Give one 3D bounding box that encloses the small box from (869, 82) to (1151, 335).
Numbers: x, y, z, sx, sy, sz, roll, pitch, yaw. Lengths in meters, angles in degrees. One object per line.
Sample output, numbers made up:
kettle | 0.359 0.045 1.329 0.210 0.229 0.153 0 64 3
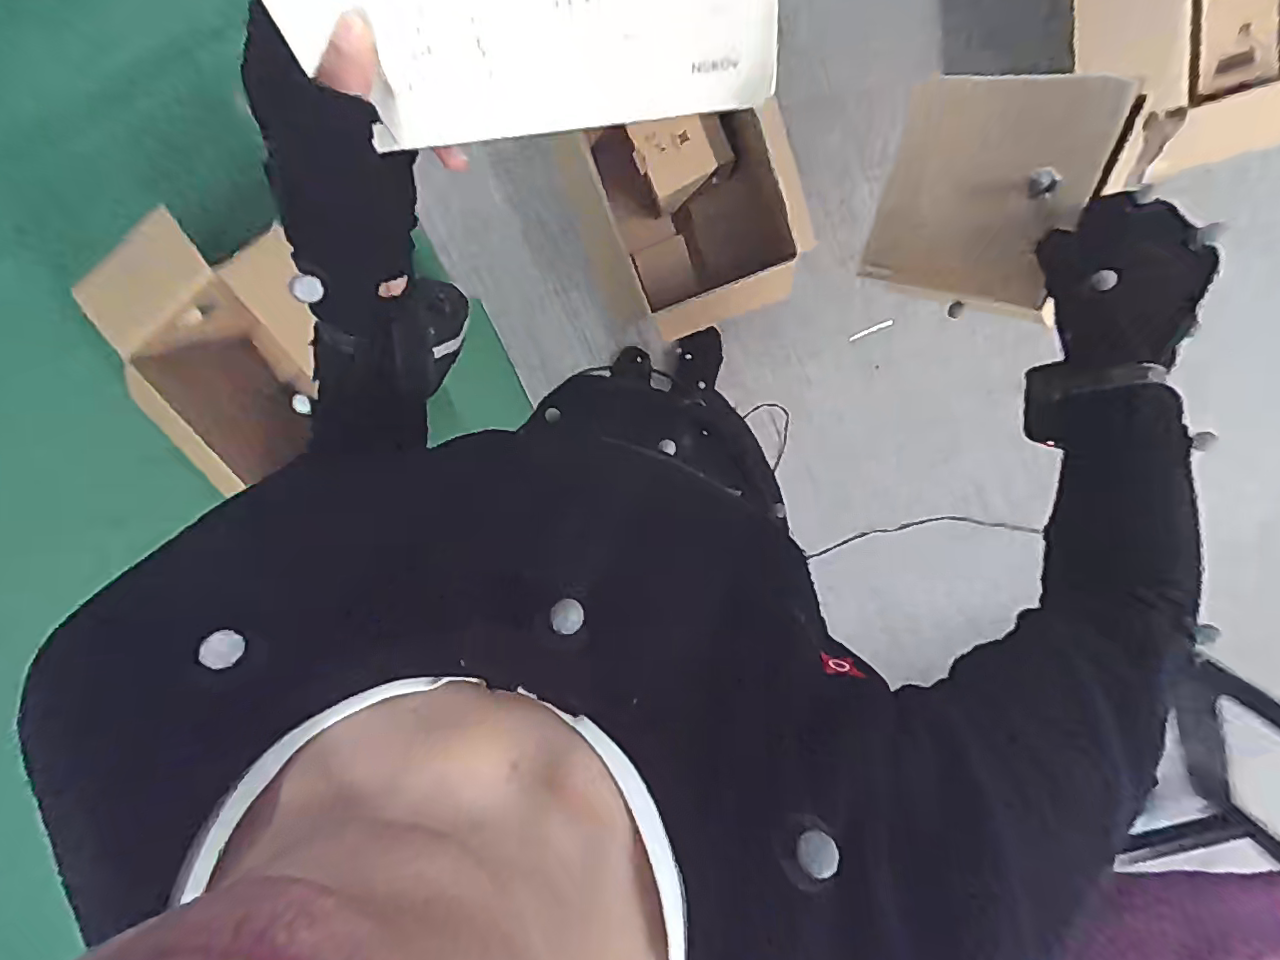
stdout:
small box | 0.349 -0.258 0.535 0.176 0.168 0.179 27 112 33
